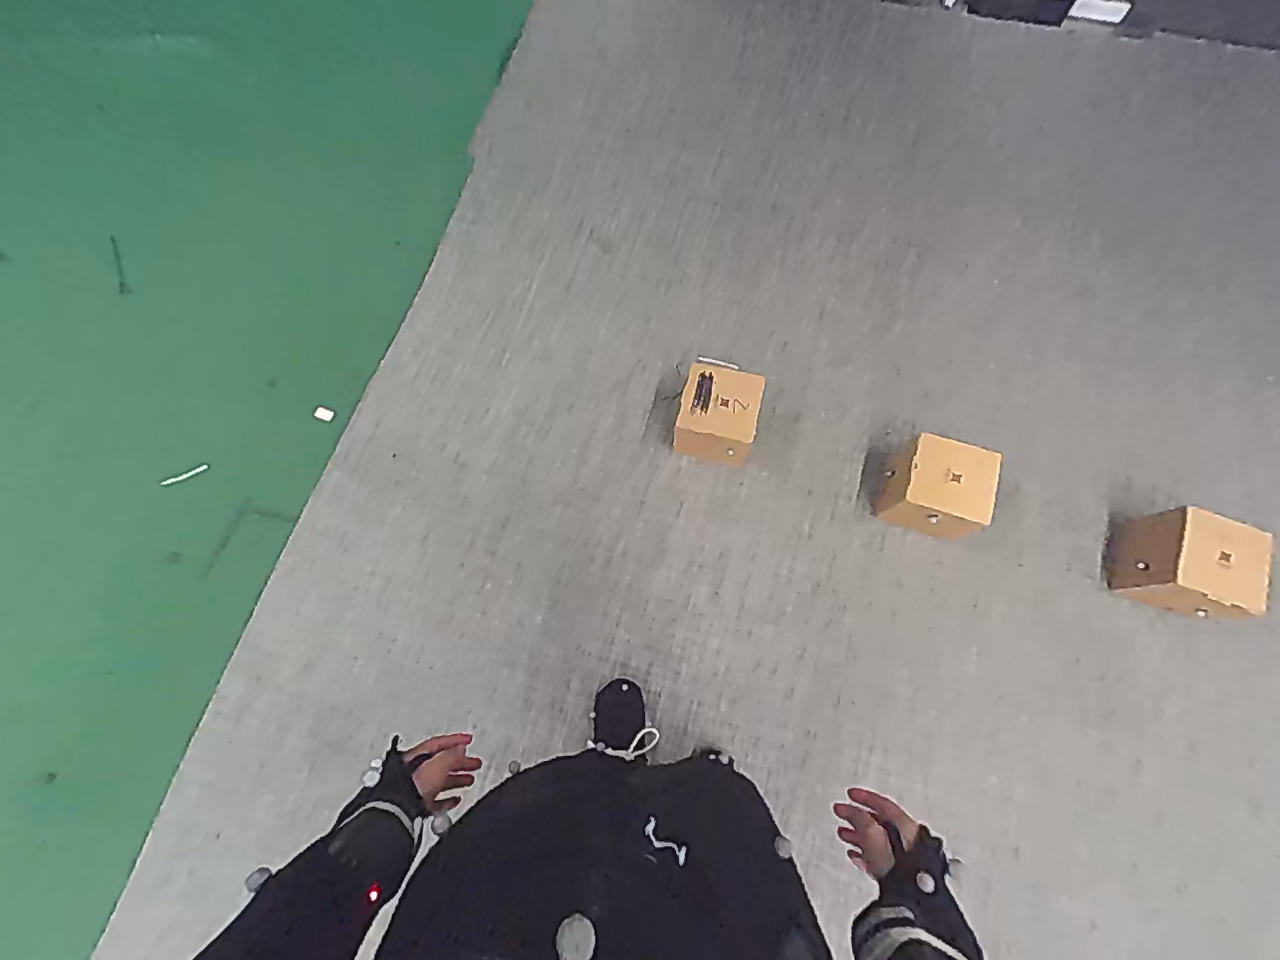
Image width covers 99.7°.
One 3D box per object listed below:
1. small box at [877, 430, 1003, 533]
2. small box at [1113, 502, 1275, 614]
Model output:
[{"bbox_3d":[0.661,0.012,1.208,0.179,0.176,0.168,18,75,8],"label":"small box"},{"bbox_3d":[1.155,0.173,1.140,0.168,0.176,0.179,22,75,7],"label":"small box"}]
